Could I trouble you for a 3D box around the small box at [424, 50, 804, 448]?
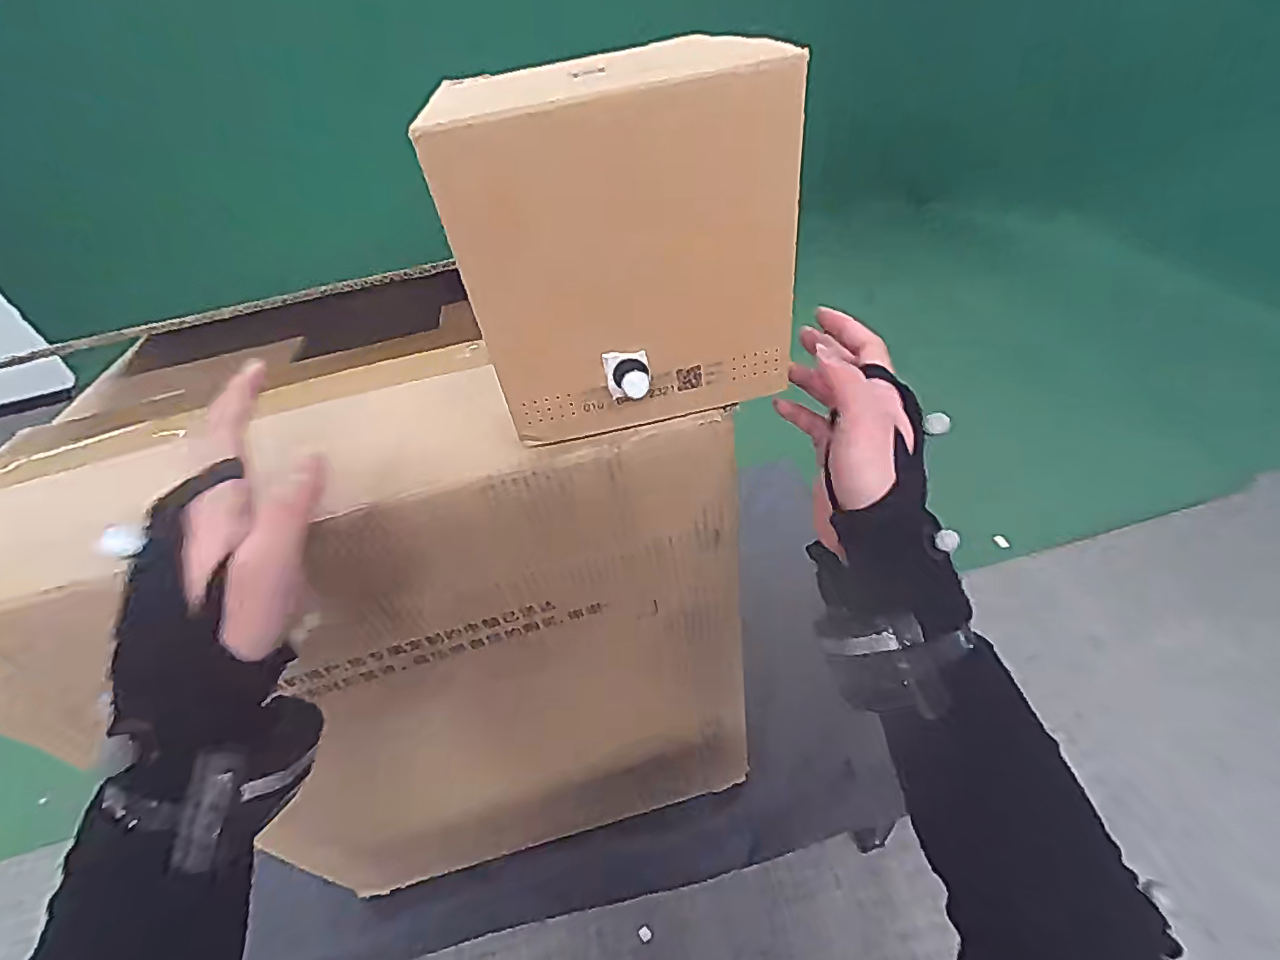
[{"bbox_3d":[-0.016,-0.147,0.339,0.168,0.176,0.179,-15,43,-5],"label":"small box"}]
